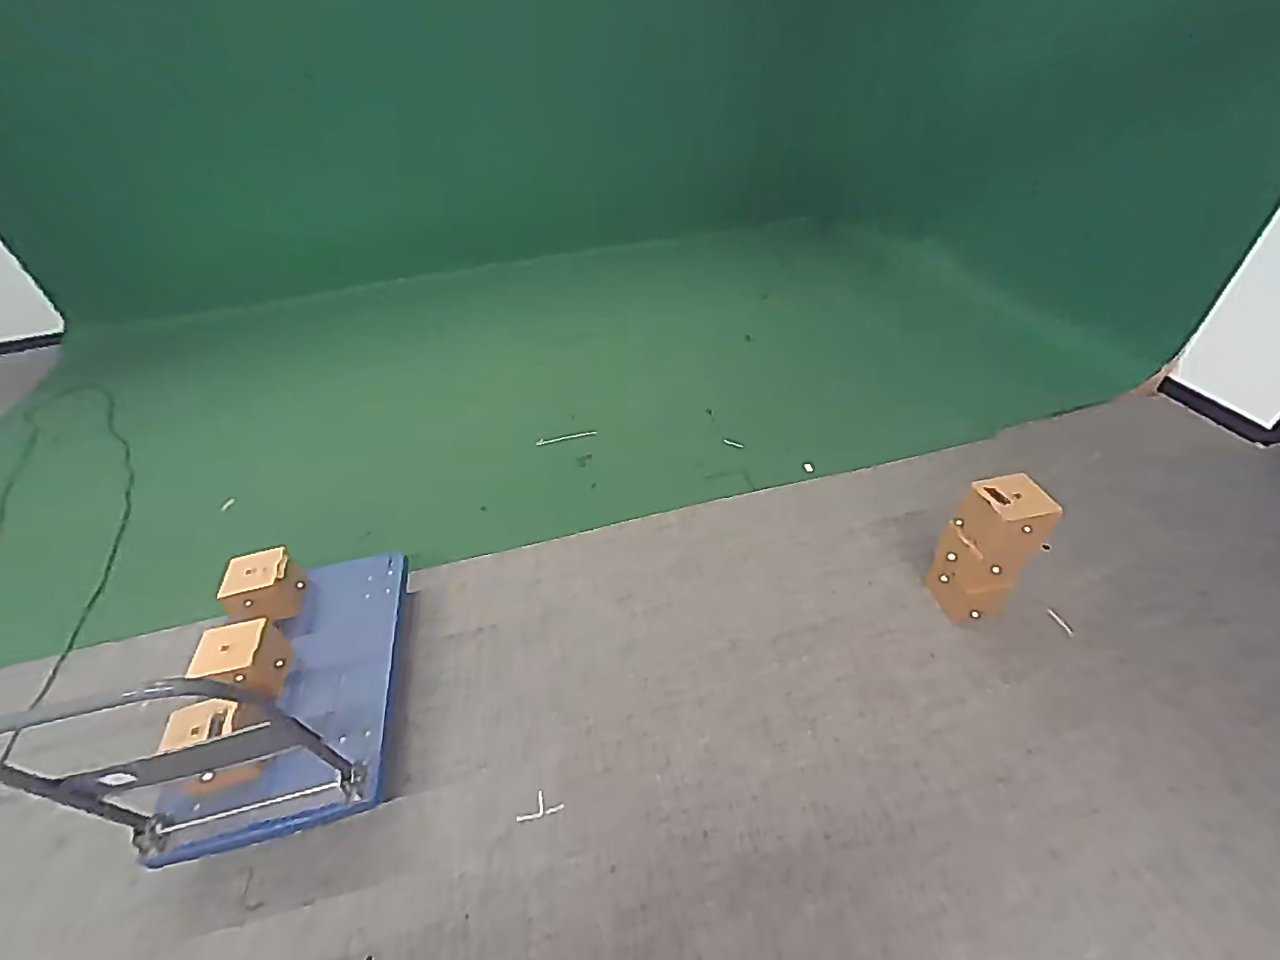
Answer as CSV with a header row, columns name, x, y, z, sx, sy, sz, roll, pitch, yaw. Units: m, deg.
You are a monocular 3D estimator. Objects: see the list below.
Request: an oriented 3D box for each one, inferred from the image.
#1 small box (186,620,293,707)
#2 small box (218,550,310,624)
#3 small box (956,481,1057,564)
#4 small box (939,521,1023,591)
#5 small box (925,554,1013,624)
name,x,y,z,sx,sy,sz,roll,pitch,yaw
small box,-1.177,0.548,1.604,0.179,0.176,0.168,-11,42,-8
small box,-1.246,0.365,1.805,0.179,0.176,0.168,-12,44,-8
small box,1.082,0.131,1.619,0.179,0.176,0.168,-10,43,-4
small box,1.085,0.235,1.725,0.179,0.176,0.168,-10,42,-3
small box,1.102,0.358,1.831,0.168,0.176,0.179,-9,42,-3
